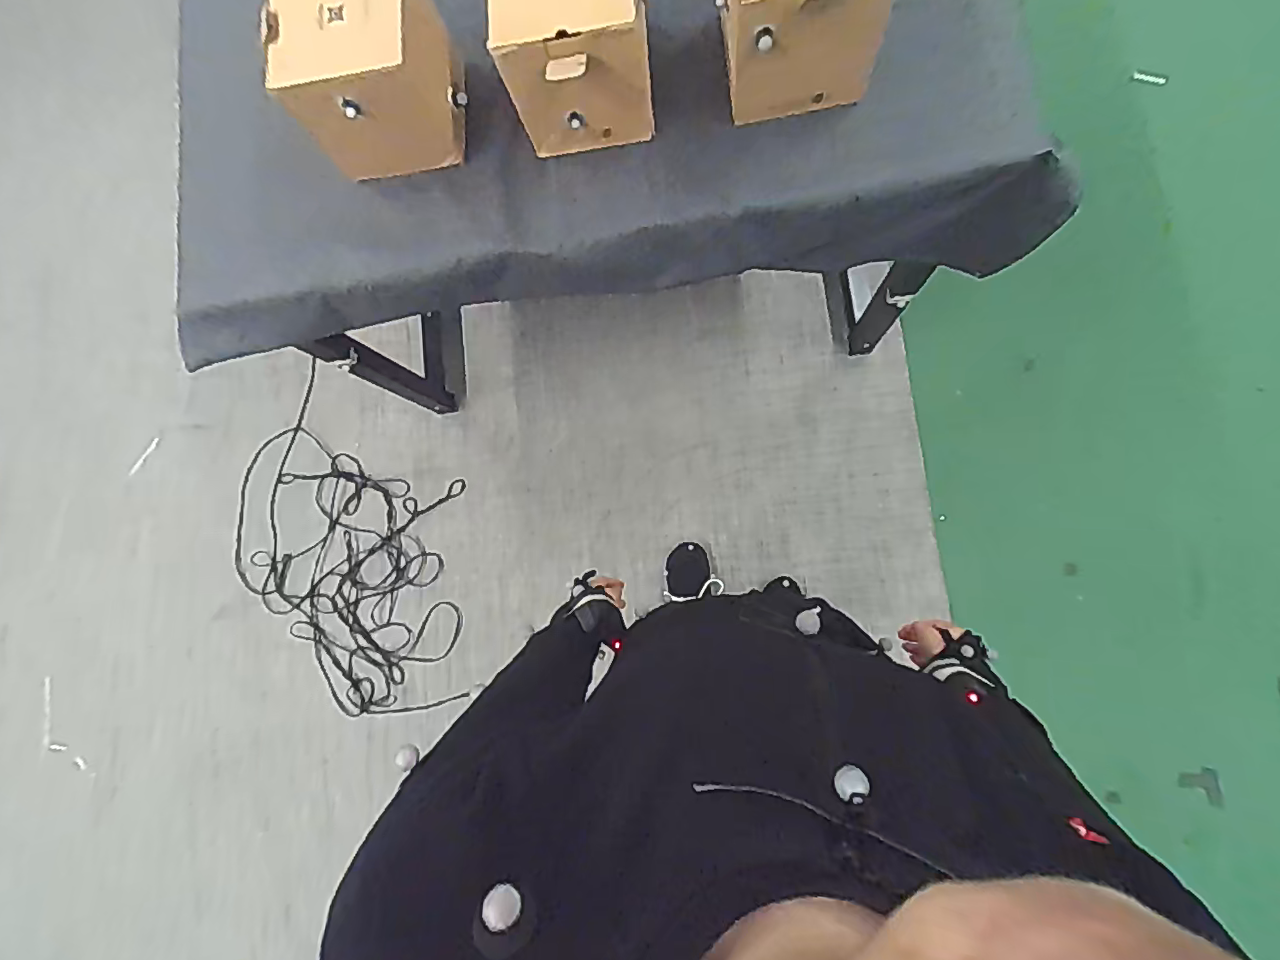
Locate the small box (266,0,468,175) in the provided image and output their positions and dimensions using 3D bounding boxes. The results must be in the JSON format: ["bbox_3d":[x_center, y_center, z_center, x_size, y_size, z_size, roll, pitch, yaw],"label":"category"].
[{"bbox_3d":[-0.345,-0.531,0.708,0.179,0.176,0.168,-5,83,6],"label":"small box"}]

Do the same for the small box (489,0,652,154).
[{"bbox_3d":[-0.078,-0.552,0.673,0.168,0.176,0.179,-5,83,7],"label":"small box"}]
